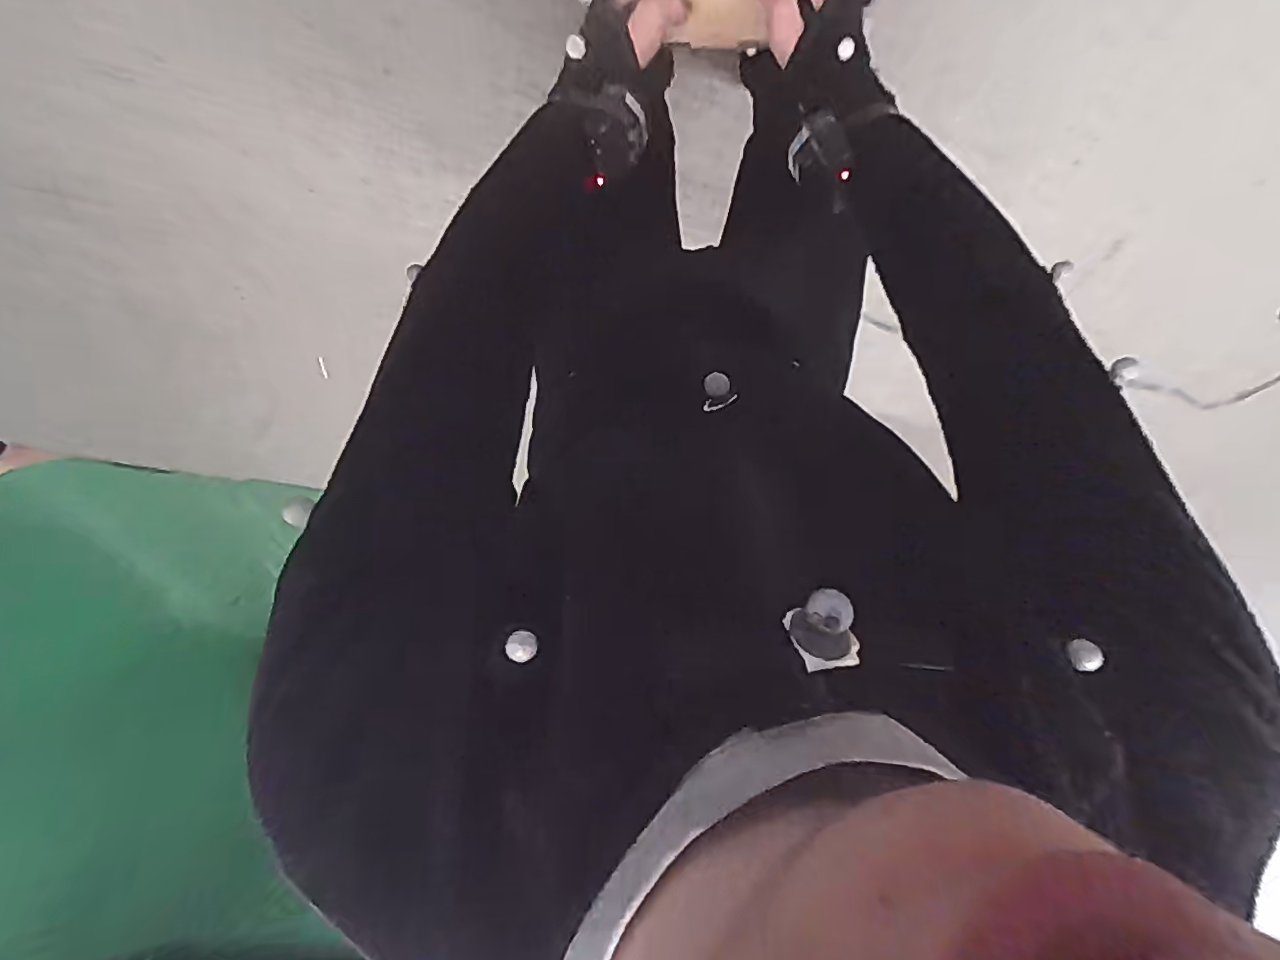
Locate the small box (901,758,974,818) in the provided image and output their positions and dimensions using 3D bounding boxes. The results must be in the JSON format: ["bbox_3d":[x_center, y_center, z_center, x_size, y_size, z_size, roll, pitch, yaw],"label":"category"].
[{"bbox_3d":[1.128,1.182,2.071,0.168,0.176,0.179,10,142,-7],"label":"small box"}]
